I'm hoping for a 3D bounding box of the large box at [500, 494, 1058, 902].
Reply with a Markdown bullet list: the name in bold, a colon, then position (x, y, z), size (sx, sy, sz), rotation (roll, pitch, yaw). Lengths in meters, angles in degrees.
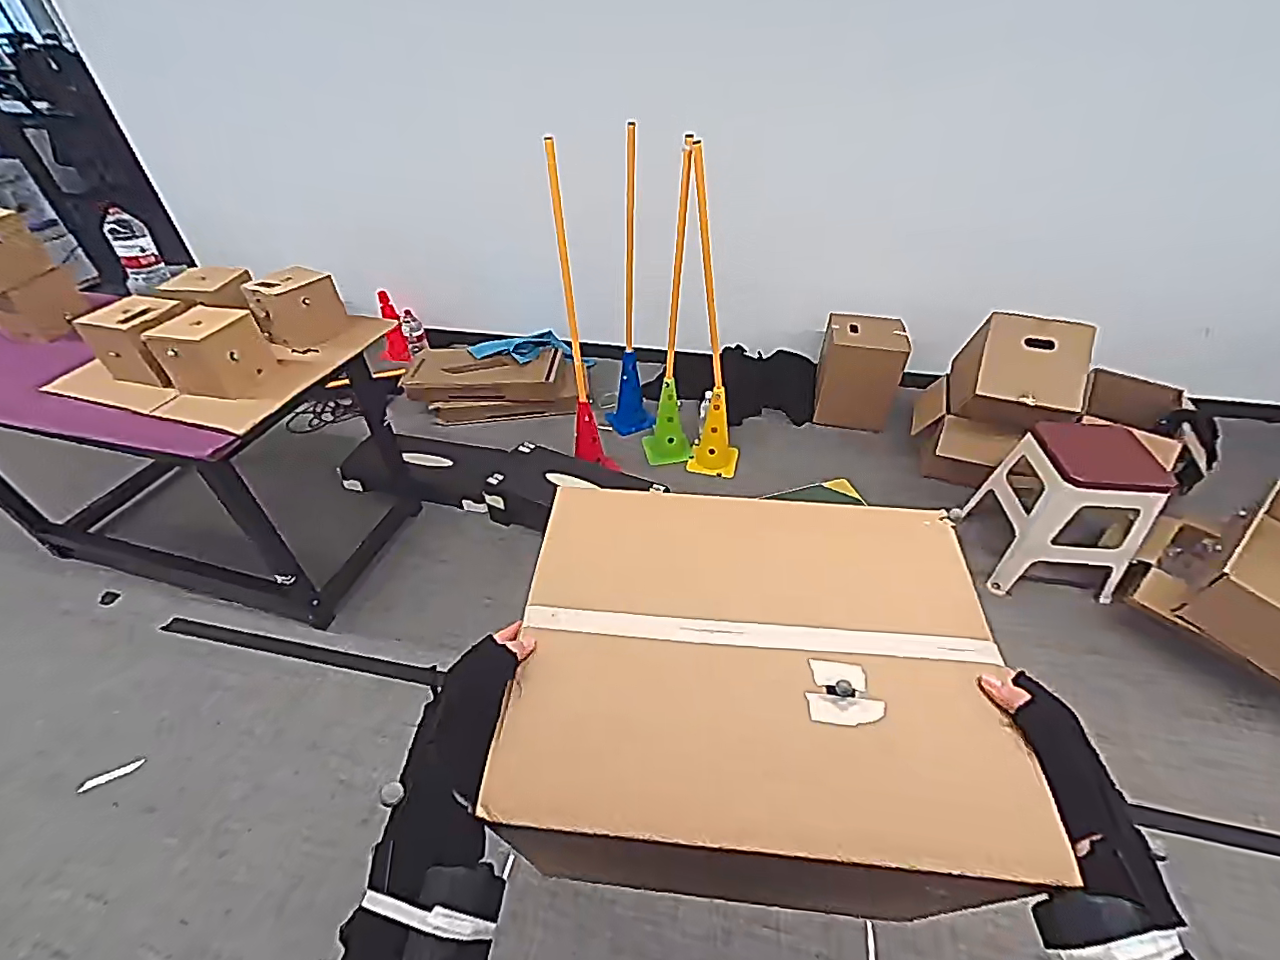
- **large box**: position (0.104, 0.237, 0.591), size (0.408, 0.320, 0.320), rotation (4, 49, 4)
